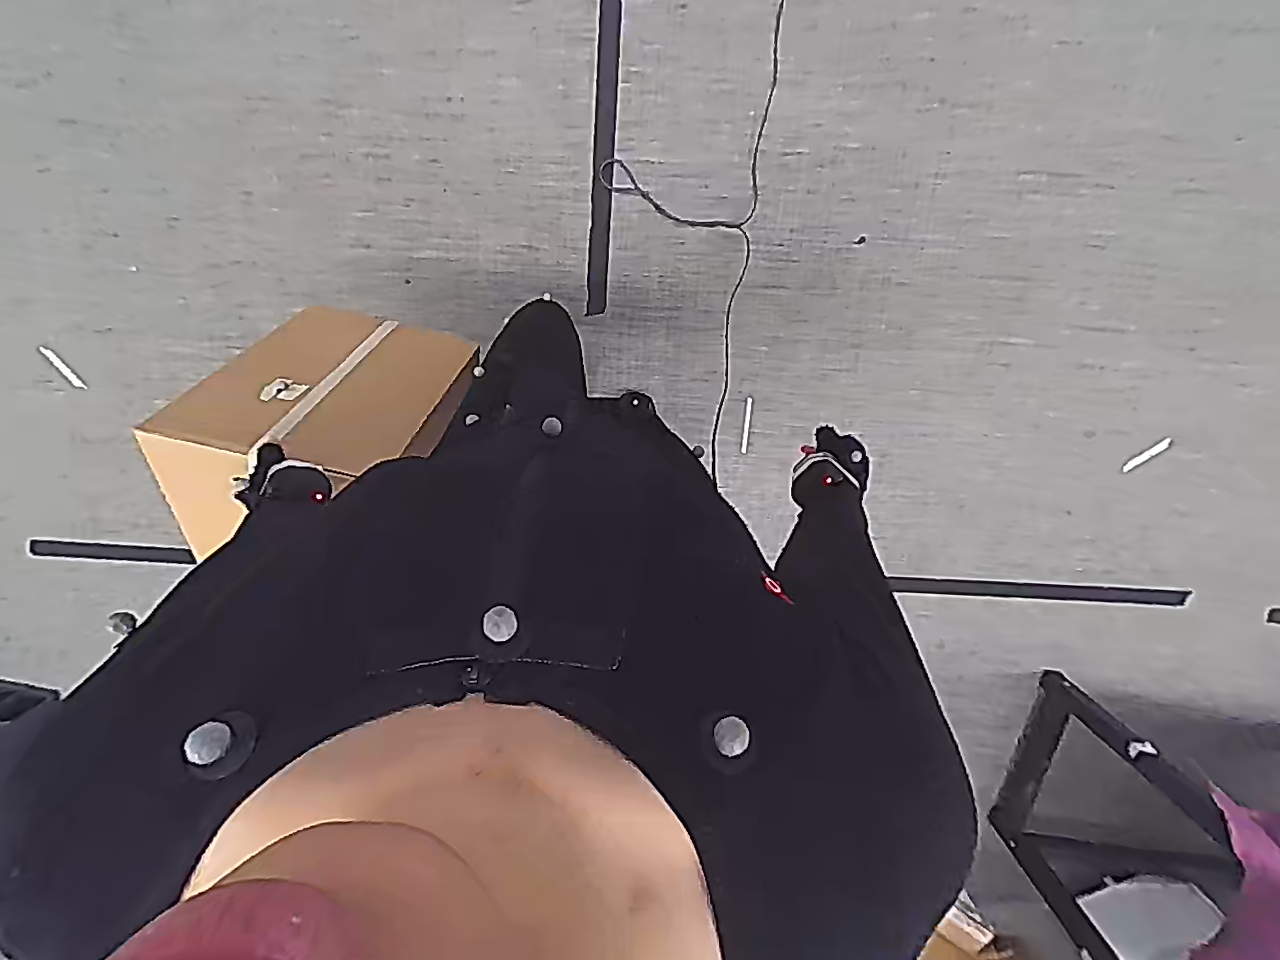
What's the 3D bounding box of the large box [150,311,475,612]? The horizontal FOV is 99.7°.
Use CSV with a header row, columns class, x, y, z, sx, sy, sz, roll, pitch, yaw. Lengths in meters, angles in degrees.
class,x,y,z,sx,sy,sz,roll,pitch,yaw
large box,-0.503,-0.043,0.954,0.320,0.408,0.320,12,131,-2
